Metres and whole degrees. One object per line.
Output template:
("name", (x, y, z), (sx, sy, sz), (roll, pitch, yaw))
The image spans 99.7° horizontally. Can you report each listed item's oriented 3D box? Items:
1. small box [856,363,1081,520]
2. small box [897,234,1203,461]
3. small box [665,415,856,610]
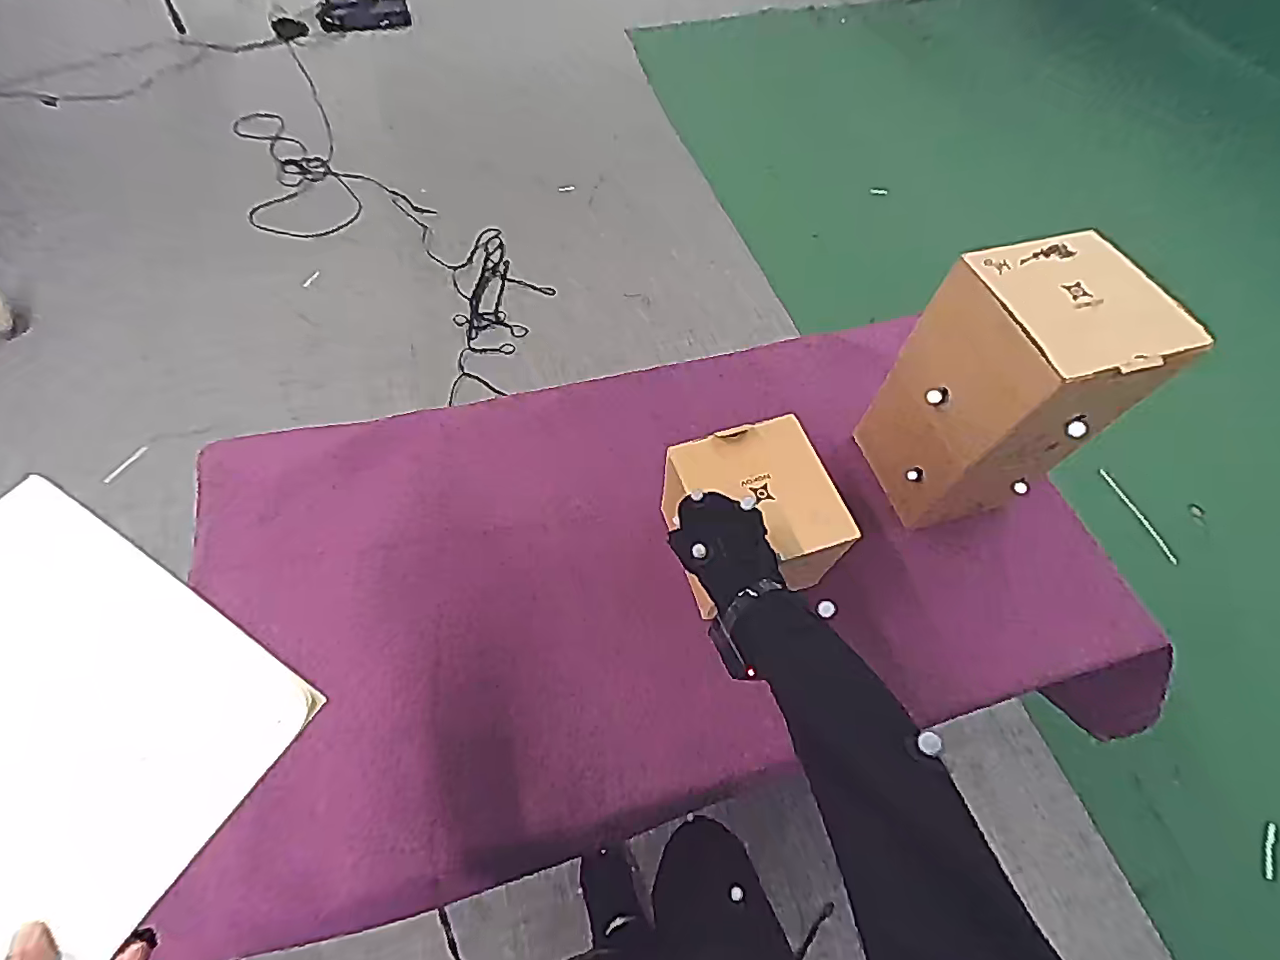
("small box", (0.432, -0.058, 0.747), (0.168, 0.176, 0.179), (-12, 61, -8))
("small box", (0.428, -0.136, 0.603), (0.168, 0.176, 0.179), (-12, 62, -9))
("small box", (0.136, 0.051, 0.684), (0.168, 0.176, 0.179), (-15, 61, -9))
